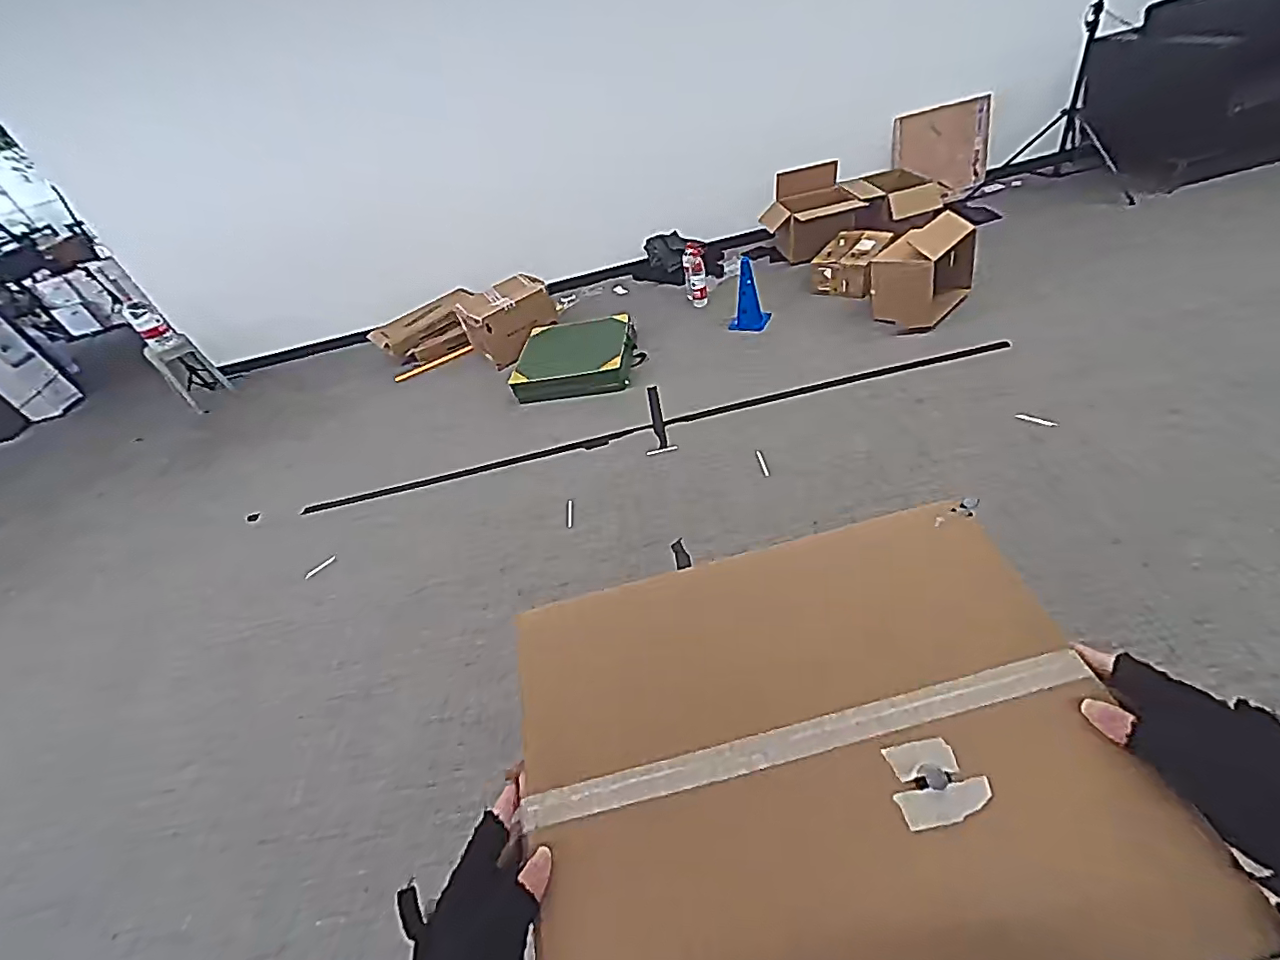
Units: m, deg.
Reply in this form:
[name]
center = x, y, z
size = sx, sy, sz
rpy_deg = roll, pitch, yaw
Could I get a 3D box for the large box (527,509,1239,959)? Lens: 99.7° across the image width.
[large box]
center = 0.140, 0.283, 0.508
size = 0.408, 0.320, 0.320
rpy_deg = -15, 50, -1
